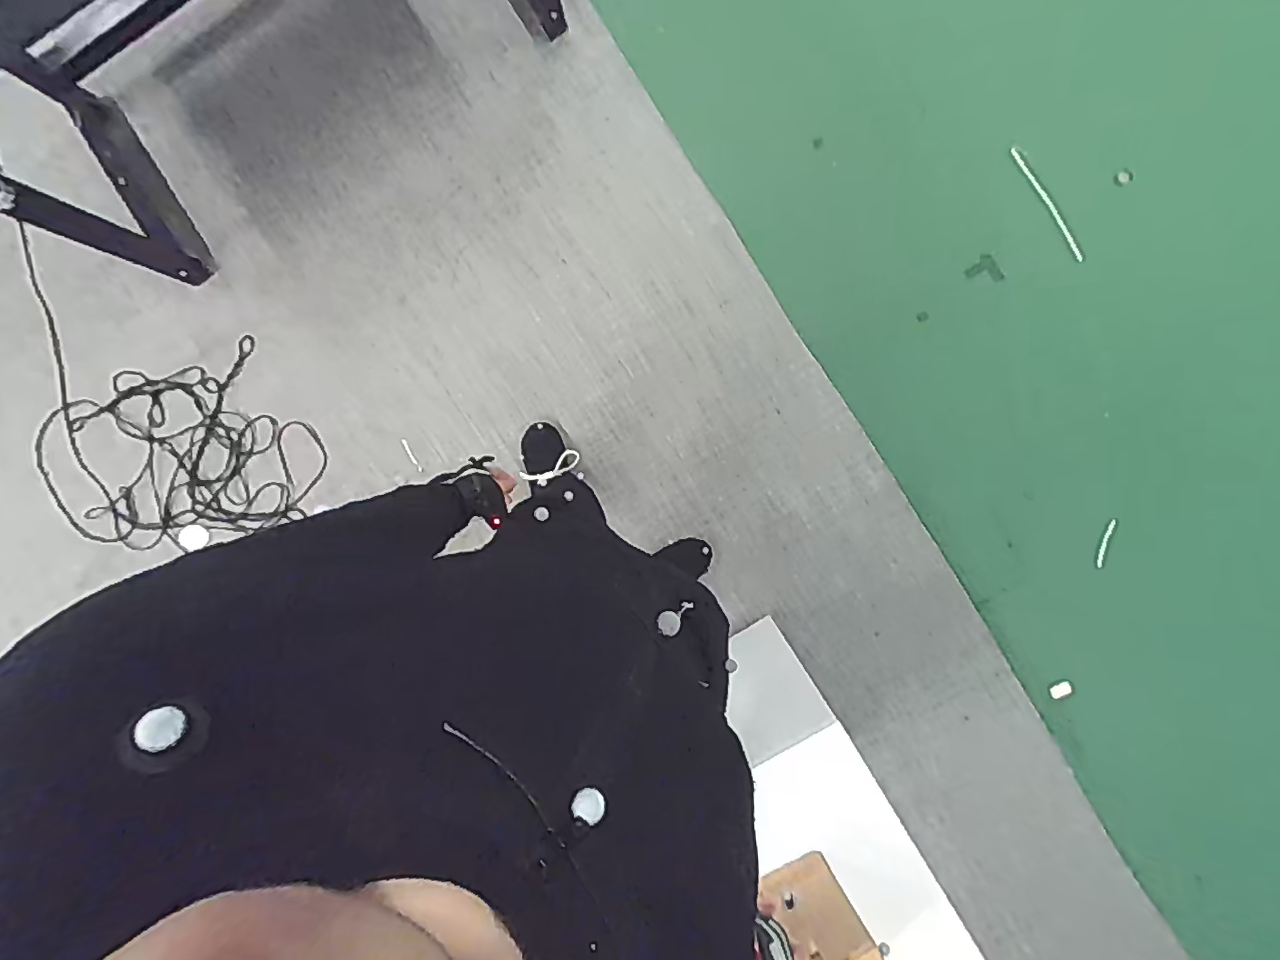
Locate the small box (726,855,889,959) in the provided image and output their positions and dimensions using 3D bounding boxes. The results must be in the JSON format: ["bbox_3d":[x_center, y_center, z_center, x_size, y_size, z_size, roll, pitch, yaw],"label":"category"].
[{"bbox_3d":[0.227,0.626,0.670,0.168,0.176,0.179,-27,88,-4],"label":"small box"}]
